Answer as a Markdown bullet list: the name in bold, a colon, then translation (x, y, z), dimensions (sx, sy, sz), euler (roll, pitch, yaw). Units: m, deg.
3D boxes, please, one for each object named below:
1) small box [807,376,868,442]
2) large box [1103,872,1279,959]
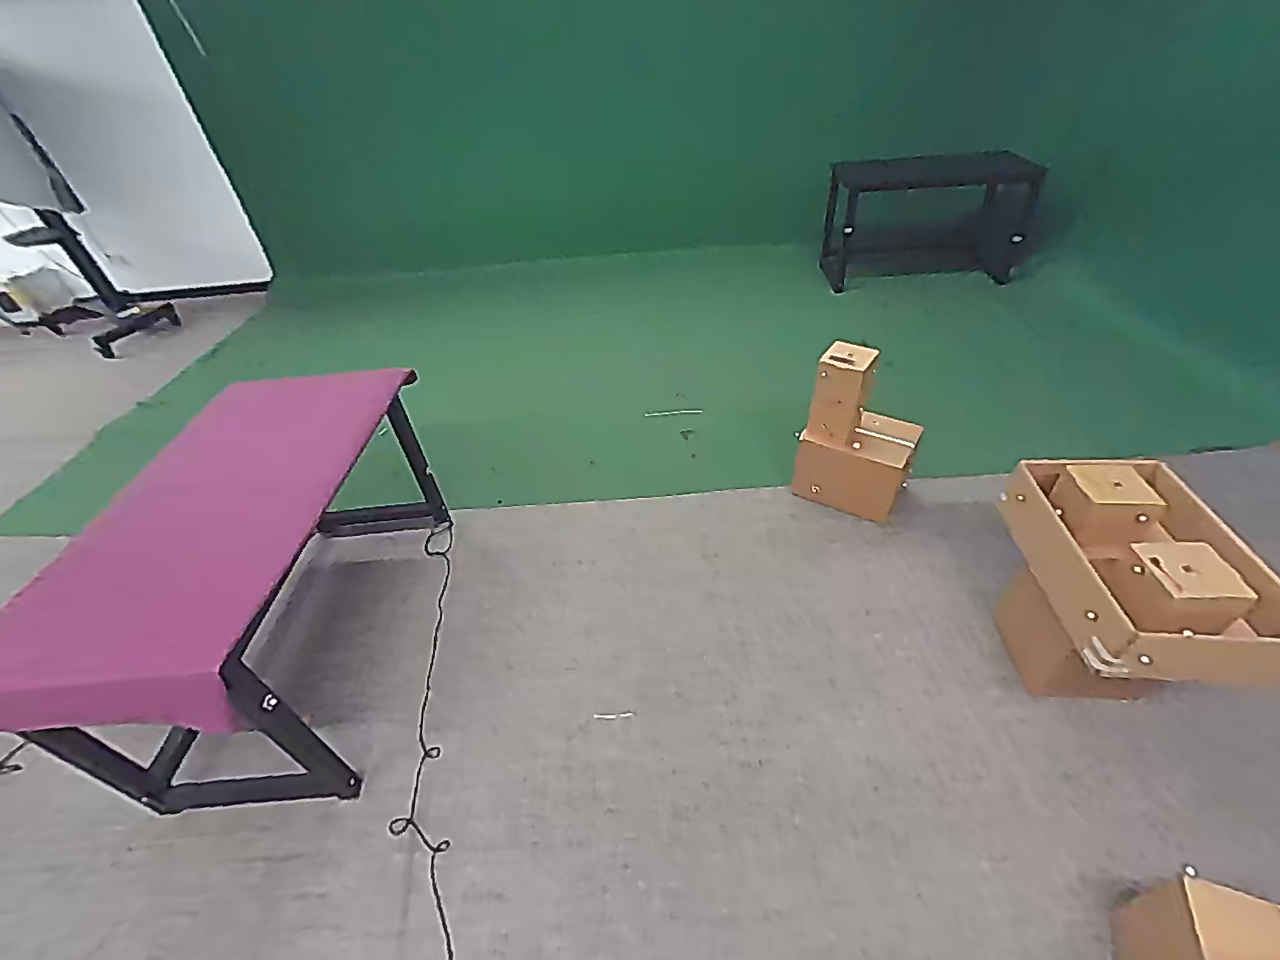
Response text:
- **small box**: translation (0.783, -0.283, 2.158), dimensions (0.168, 0.176, 0.179), euler (24, 50, 28)
- **large box**: translation (1.136, 1.043, 0.984), dimensions (0.320, 0.320, 0.408), euler (12, 43, 18)
